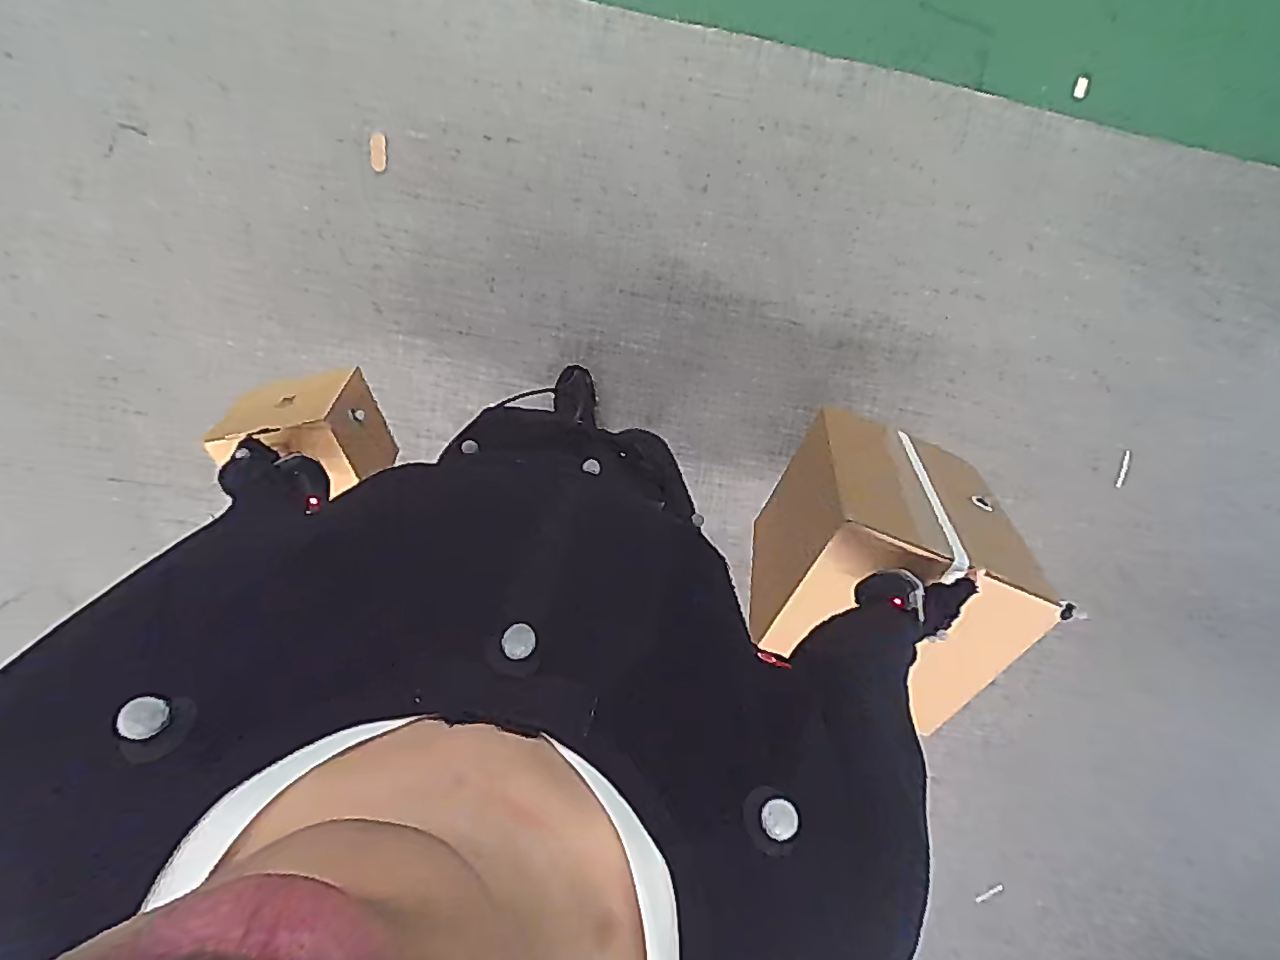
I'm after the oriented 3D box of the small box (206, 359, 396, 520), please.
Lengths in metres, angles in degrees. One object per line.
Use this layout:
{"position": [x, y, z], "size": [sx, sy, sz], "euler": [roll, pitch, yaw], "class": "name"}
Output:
{"position": [-0.503, -0.064, 0.839], "size": [0.168, 0.179, 0.176], "euler": [-11, 129, -1], "class": "small box"}
